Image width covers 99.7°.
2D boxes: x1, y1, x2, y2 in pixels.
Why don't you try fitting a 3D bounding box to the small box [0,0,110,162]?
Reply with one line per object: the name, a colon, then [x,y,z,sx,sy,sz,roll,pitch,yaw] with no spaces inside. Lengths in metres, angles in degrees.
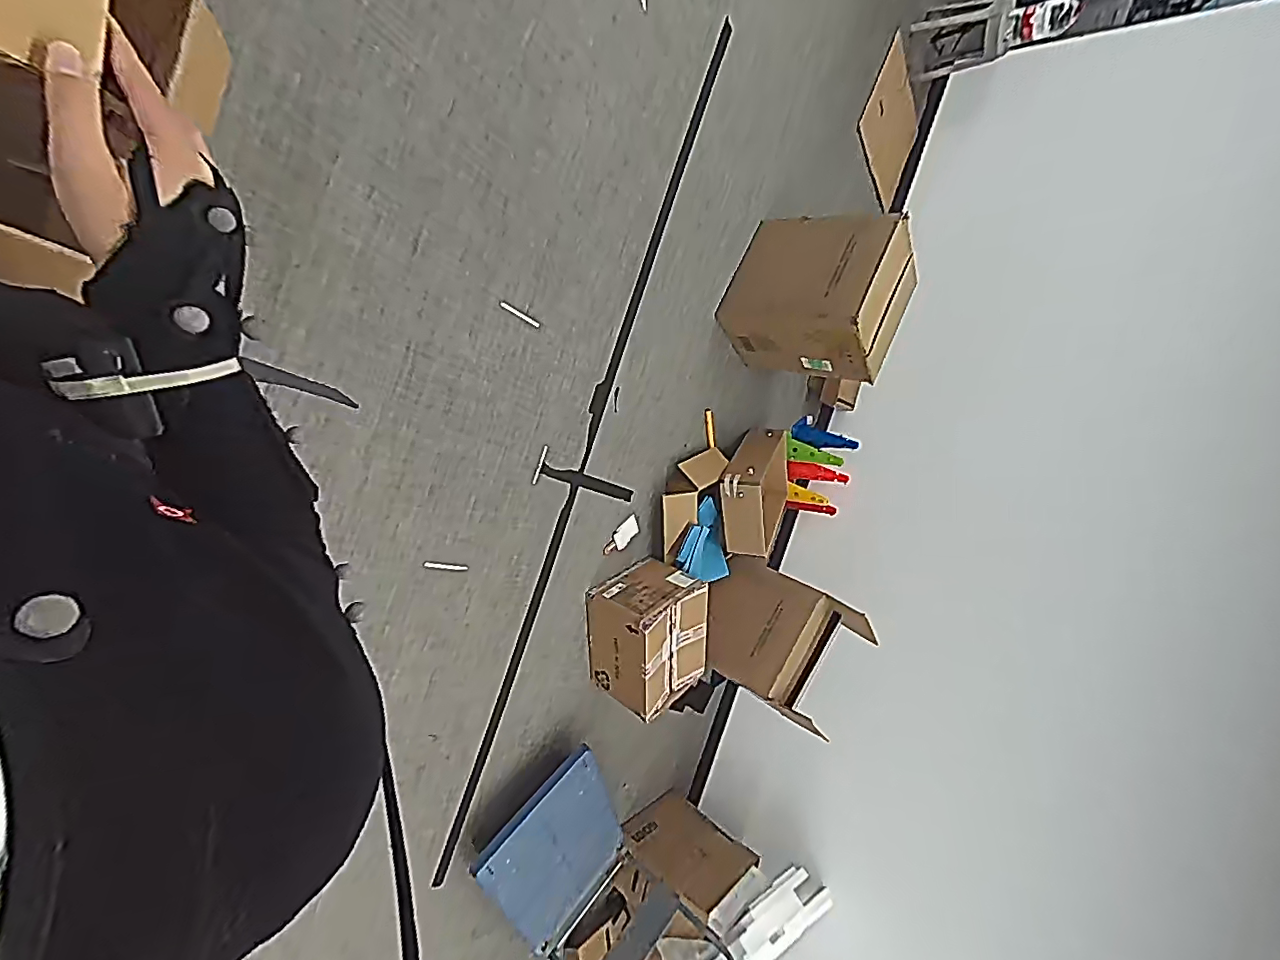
small box: [-0.379,-0.295,0.258,0.168,0.176,0.179,6,91,-53]
